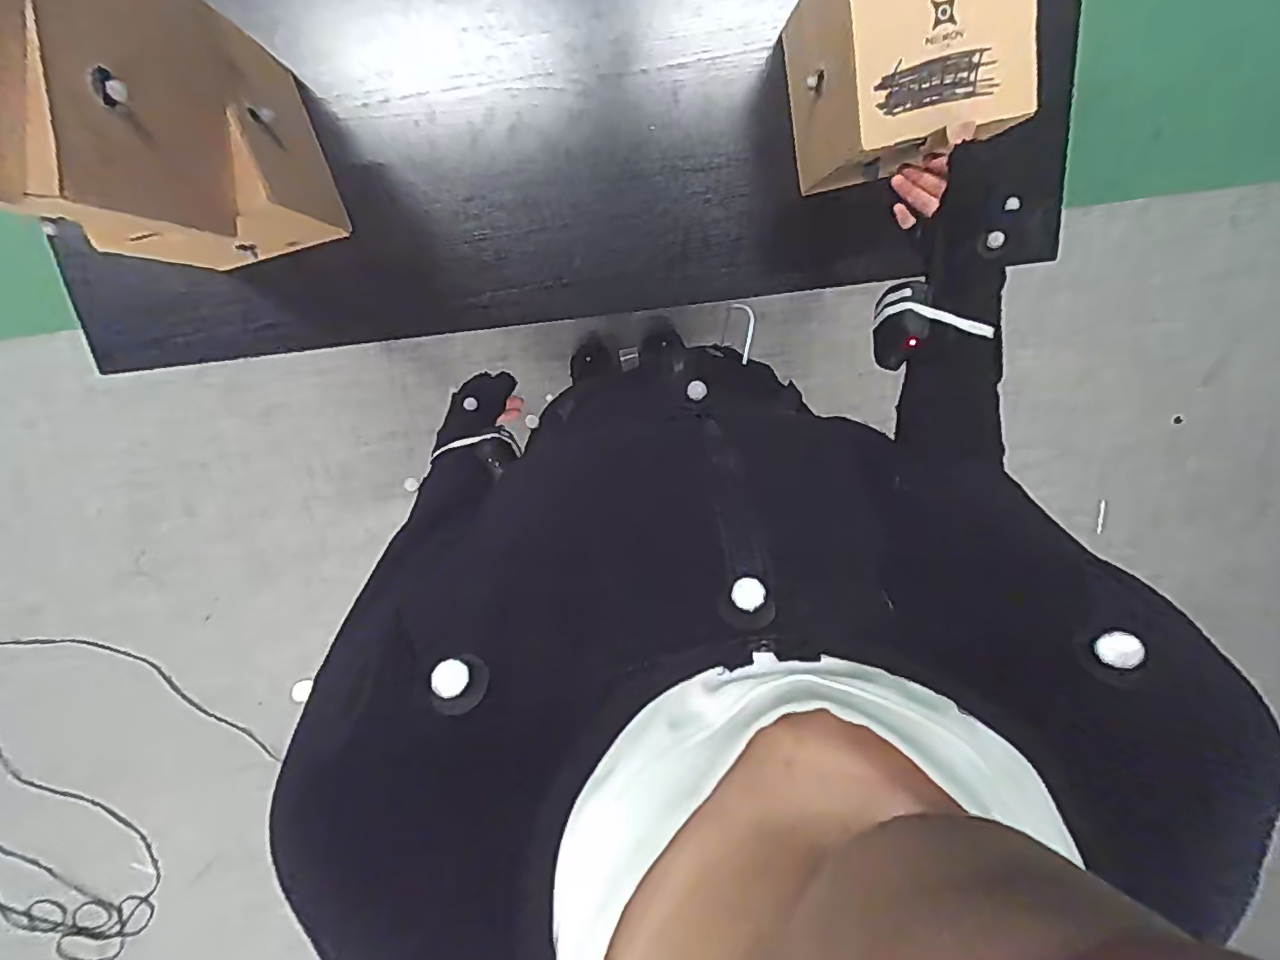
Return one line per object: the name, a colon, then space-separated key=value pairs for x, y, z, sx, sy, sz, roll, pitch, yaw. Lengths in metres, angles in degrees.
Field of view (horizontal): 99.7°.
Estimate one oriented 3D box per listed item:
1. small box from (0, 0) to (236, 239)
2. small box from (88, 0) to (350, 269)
small box: x=-0.424 y=-0.280 z=0.381 sx=0.168 sy=0.176 sz=0.179 roll=5 pitch=106 yaw=-6
small box: x=-0.431 y=-0.326 z=0.539 sx=0.168 sy=0.176 sz=0.179 roll=-16 pitch=107 yaw=1
